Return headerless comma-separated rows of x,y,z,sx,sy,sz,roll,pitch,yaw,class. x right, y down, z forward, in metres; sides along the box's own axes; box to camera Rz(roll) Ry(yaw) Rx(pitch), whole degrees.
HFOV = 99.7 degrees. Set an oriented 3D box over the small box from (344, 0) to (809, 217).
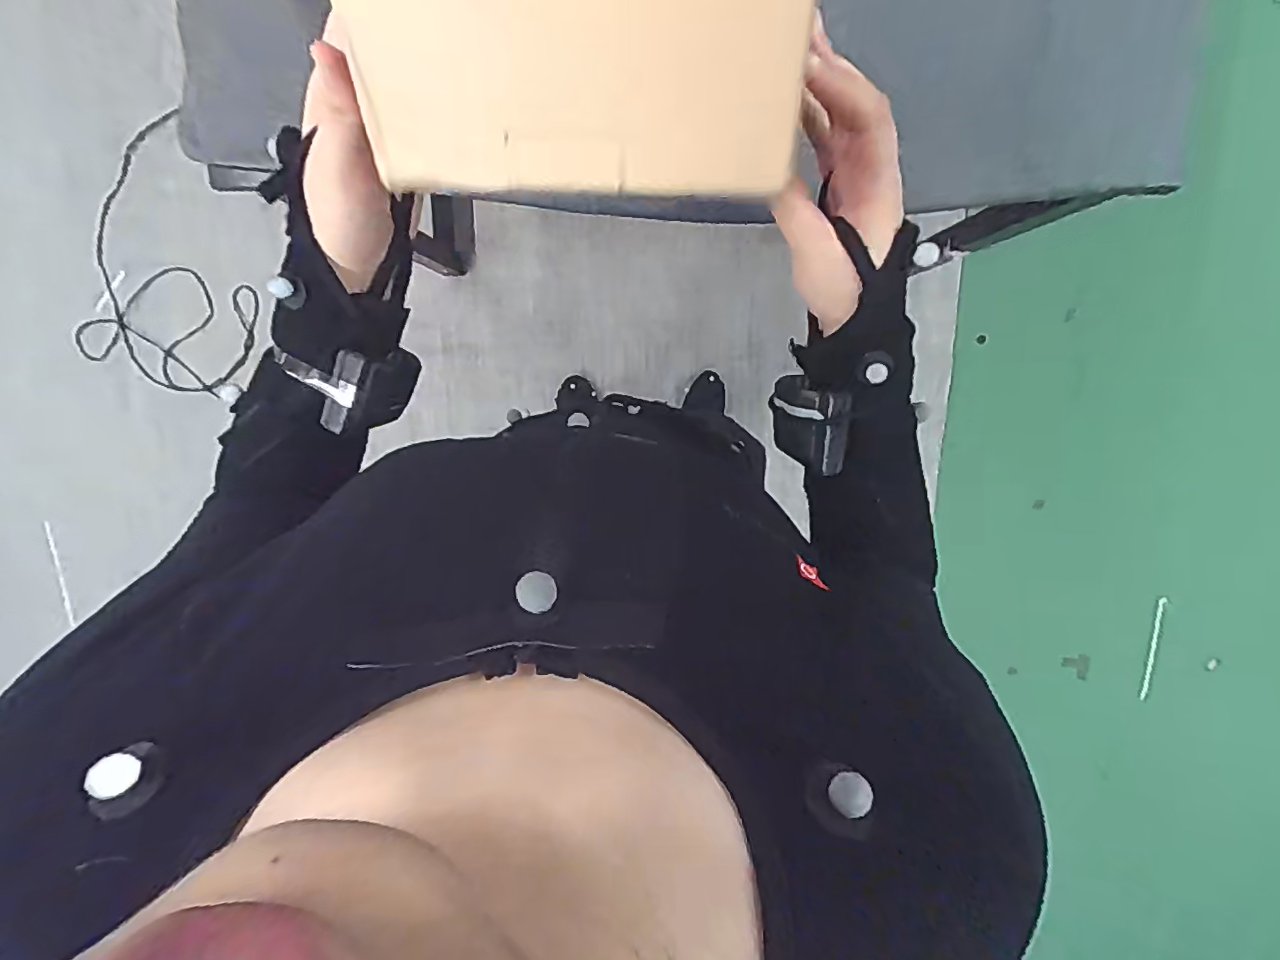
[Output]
-0.014,-0.223,0.226,0.168,0.179,0.176,9,131,13,small box
